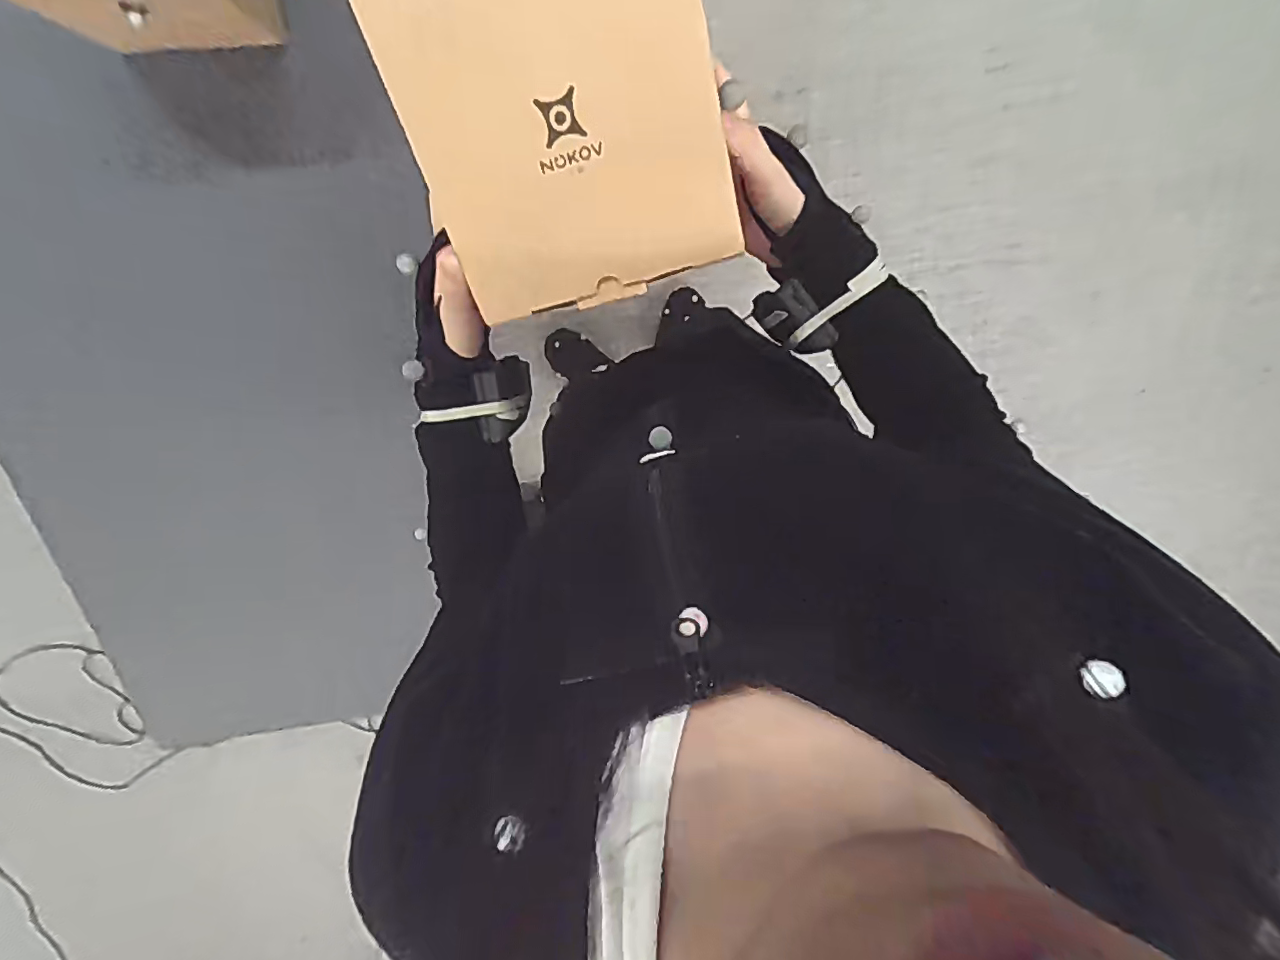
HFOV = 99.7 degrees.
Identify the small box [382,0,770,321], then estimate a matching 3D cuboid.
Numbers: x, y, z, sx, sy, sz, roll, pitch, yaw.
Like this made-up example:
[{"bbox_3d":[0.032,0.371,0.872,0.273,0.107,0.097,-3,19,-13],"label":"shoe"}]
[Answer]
[{"bbox_3d":[-0.025,-0.224,0.345,0.168,0.176,0.179,-13,120,9],"label":"small box"}]
